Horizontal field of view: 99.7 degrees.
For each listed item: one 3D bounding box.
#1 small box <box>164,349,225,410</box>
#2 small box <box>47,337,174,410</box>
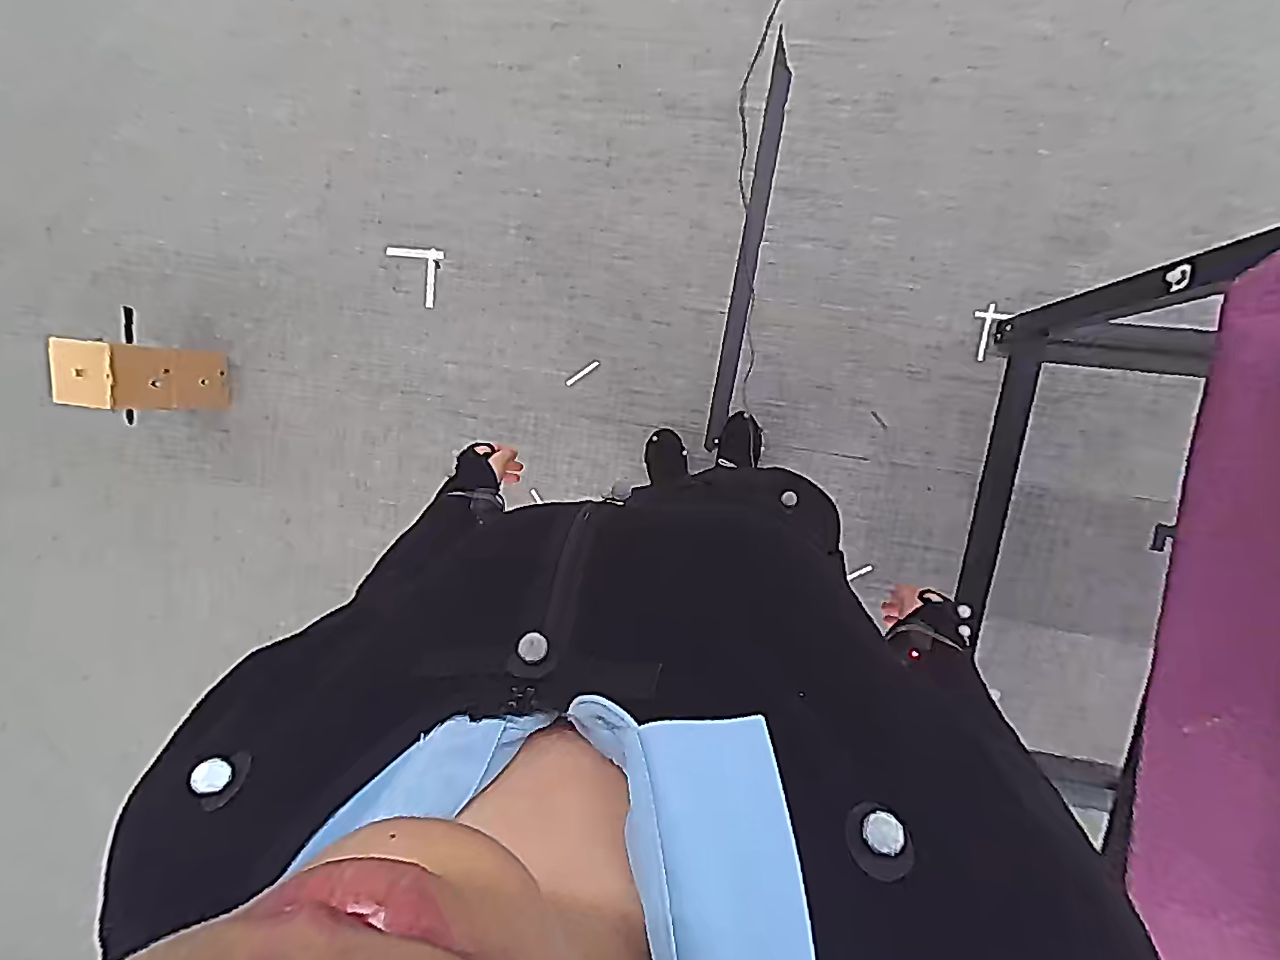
[{"bbox_3d":[-1.353,-0.294,1.574,0.179,0.176,0.168,6,98,8],"label":"small box"},{"bbox_3d":[-1.378,-0.274,1.415,0.179,0.176,0.168,7,98,7],"label":"small box"}]
